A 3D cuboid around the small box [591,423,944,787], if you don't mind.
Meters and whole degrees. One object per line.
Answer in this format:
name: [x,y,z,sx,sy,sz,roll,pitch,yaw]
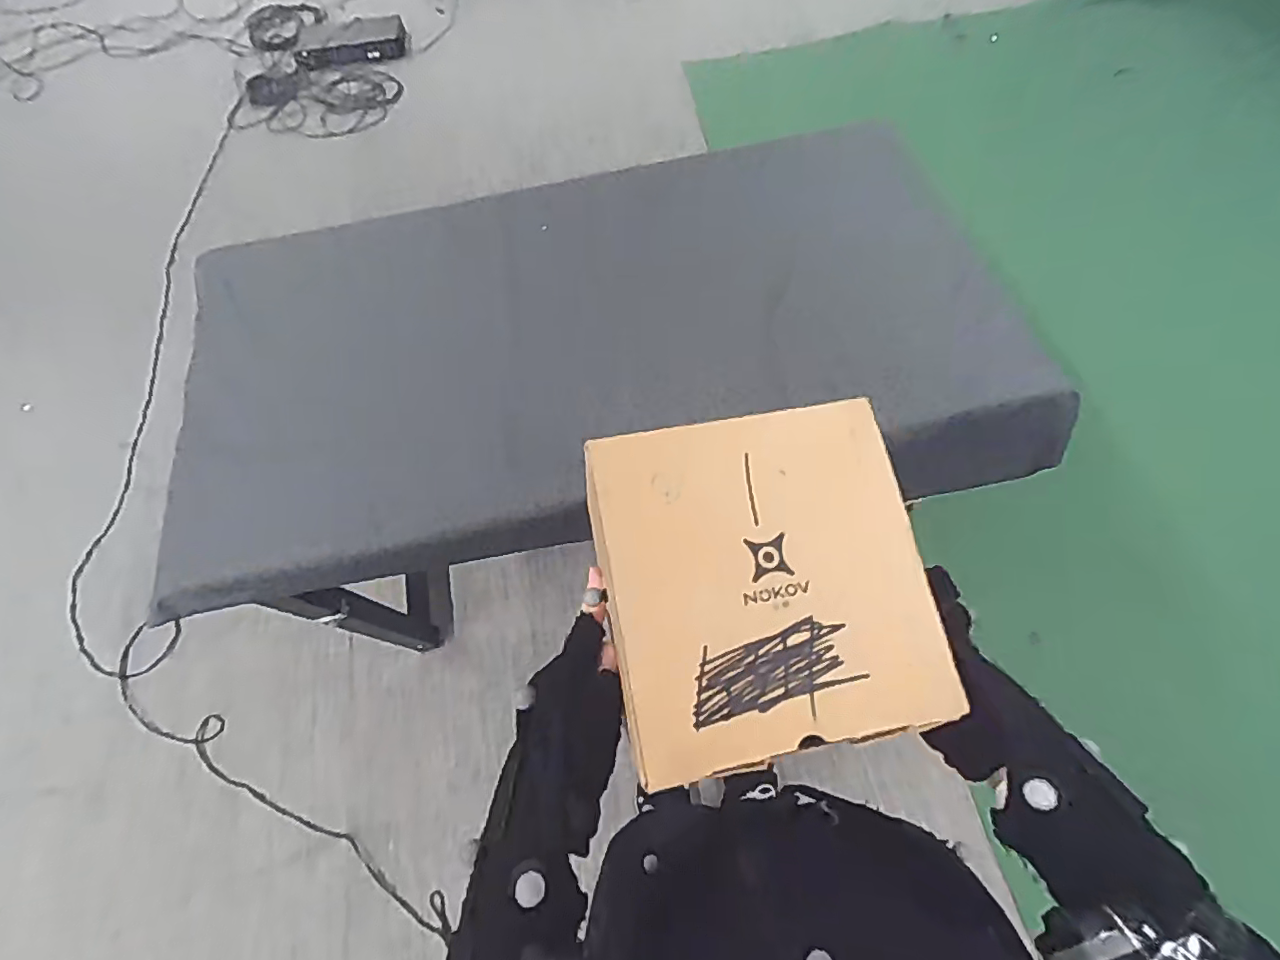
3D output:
small box: [0.061,0.079,0.370,0.168,0.176,0.179,-8,75,-7]
